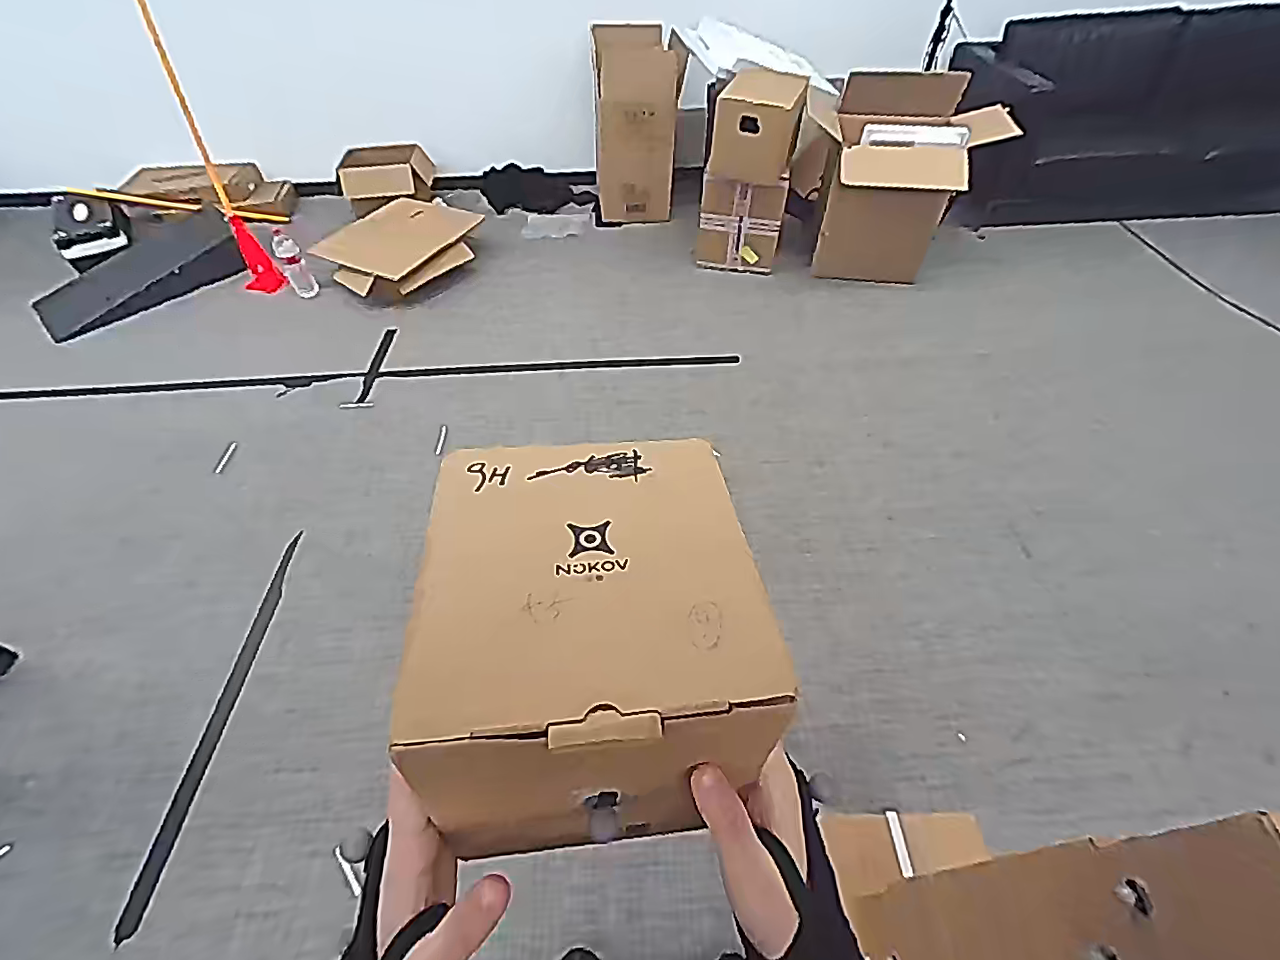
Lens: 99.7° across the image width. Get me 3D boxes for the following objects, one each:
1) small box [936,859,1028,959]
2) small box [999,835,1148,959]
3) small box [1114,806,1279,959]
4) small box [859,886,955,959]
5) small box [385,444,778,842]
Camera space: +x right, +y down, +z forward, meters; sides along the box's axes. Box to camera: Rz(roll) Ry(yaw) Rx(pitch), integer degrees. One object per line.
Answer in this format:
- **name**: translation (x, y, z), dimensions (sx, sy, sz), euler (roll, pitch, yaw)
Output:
- **small box**: translation (0.452, 0.518, 0.575), dimensions (0.168, 0.176, 0.179), euler (0, 50, 1)
- **small box**: translation (0.449, 0.413, 0.452), dimensions (0.168, 0.176, 0.179), euler (-1, 49, 2)
- **small box**: translation (0.446, 0.308, 0.325), dimensions (0.179, 0.176, 0.168), euler (0, 49, 1)
- **small box**: translation (0.456, 0.733, 0.823), dimensions (0.168, 0.176, 0.179), euler (-4, 50, 0)
- **small box**: translation (-0.033, 0.100, 0.333), dimensions (0.168, 0.176, 0.179), euler (-3, 44, -7)
